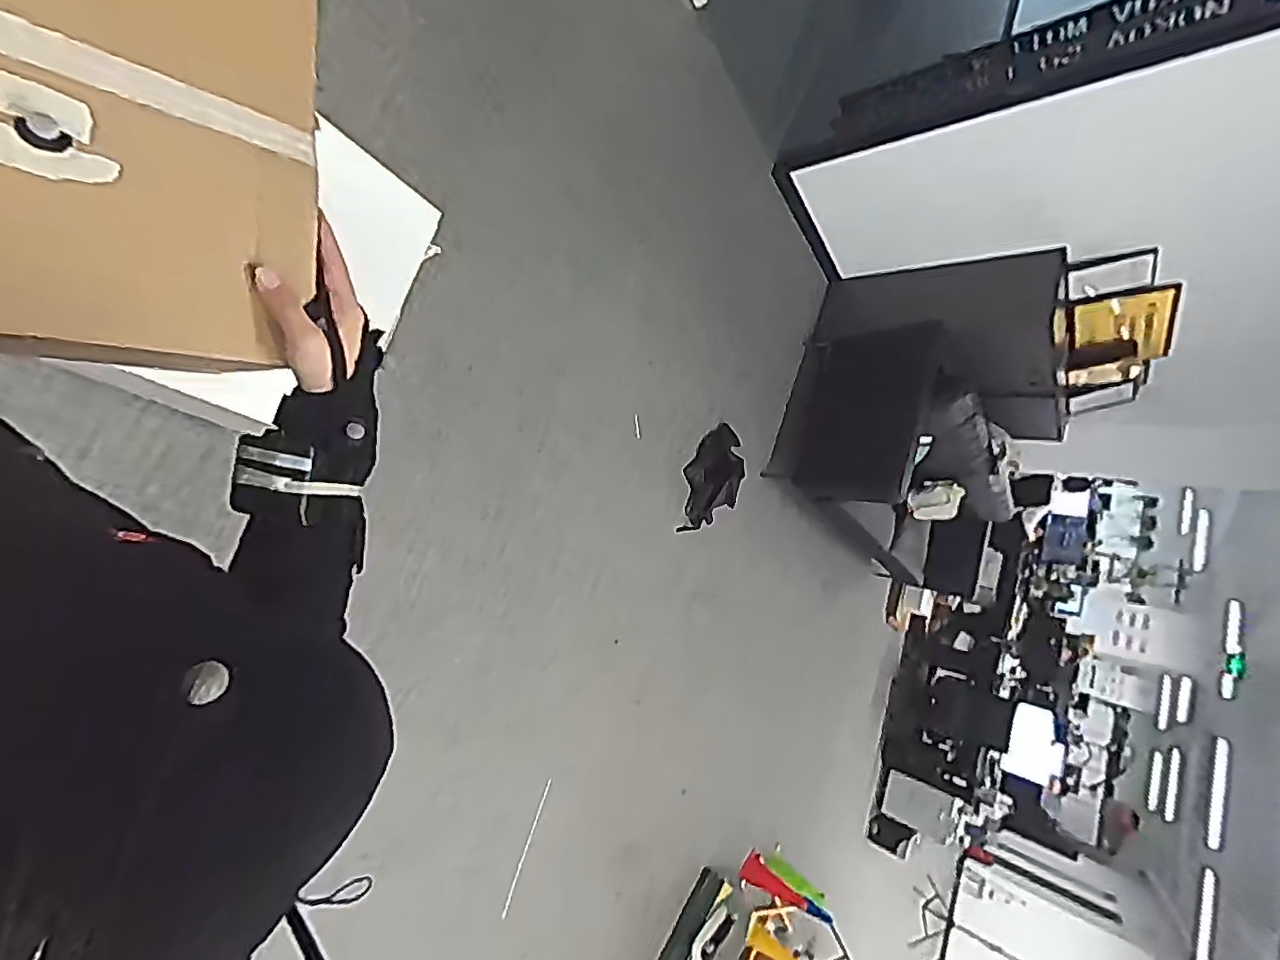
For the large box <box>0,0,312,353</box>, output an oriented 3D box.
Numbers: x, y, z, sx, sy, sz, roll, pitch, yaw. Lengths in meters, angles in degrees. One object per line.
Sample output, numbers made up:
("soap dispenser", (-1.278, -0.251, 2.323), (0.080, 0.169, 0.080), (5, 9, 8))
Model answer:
("large box", (-0.489, -0.264, 0.347), (0.408, 0.320, 0.320), (-4, 101, -49))
